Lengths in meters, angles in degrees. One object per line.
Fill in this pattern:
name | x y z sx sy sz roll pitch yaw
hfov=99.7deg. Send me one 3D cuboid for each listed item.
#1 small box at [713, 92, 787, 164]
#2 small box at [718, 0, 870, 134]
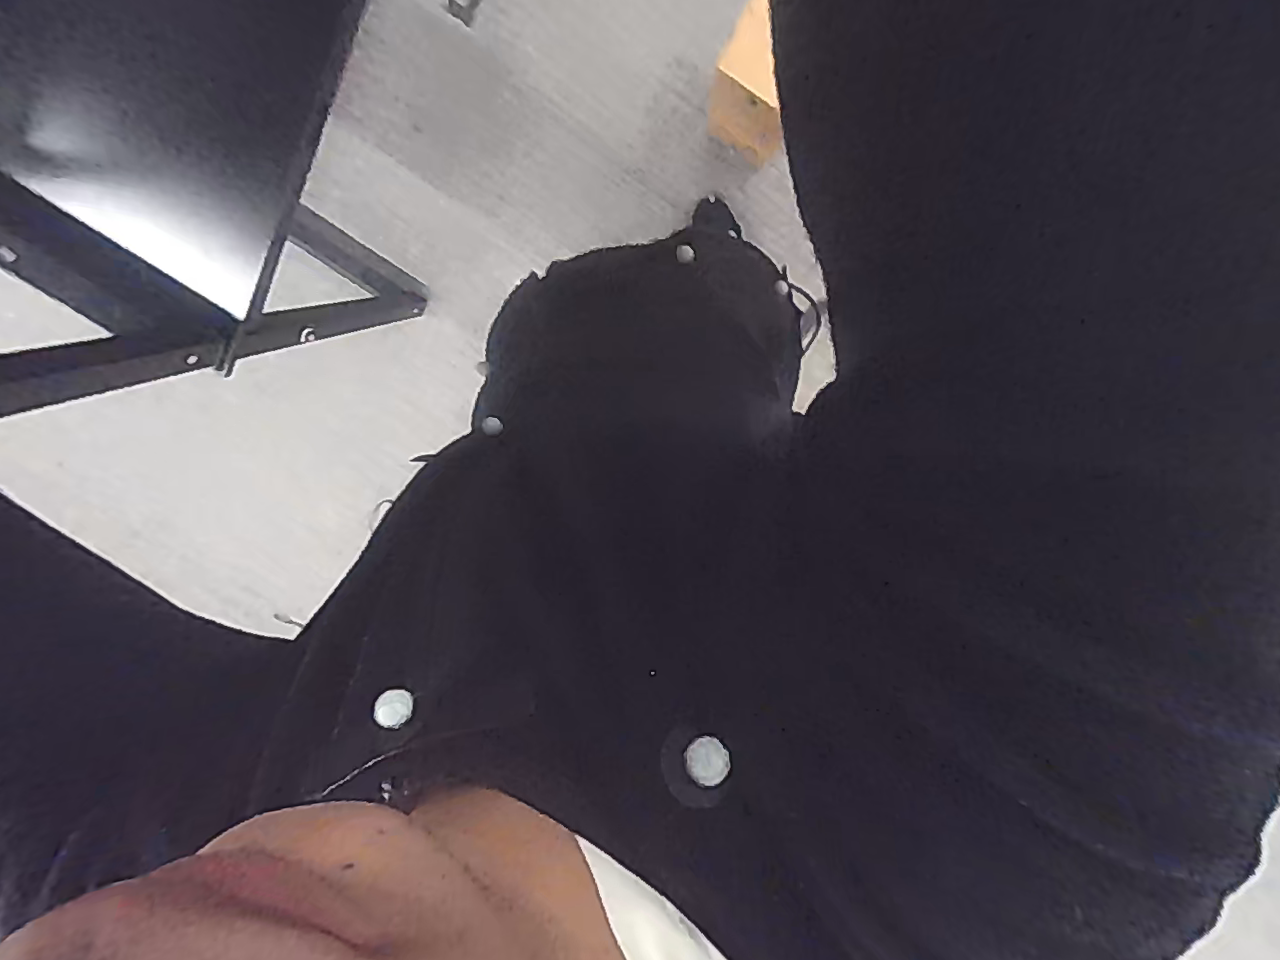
small box | 0.274 -0.851 1.218 0.168 0.176 0.179 31 113 -7
small box | 0.248 -0.722 0.918 0.179 0.176 0.168 30 113 -7
